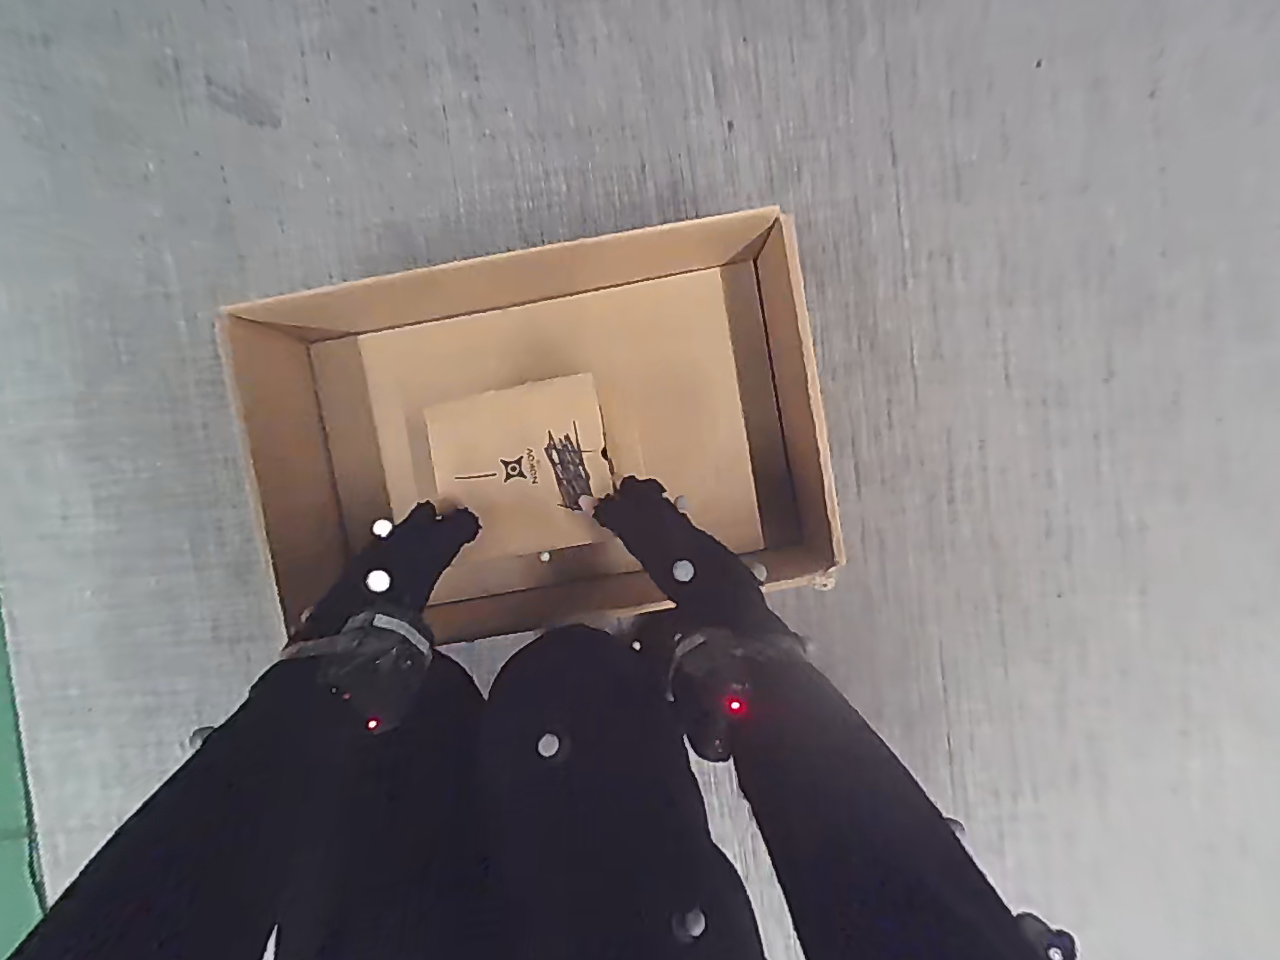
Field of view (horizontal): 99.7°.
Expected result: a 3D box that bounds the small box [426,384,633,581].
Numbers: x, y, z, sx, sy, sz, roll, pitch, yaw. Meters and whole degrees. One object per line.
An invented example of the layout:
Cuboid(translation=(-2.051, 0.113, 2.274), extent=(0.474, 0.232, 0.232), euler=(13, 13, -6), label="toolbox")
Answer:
Cuboid(translation=(-0.109, 0.005, 0.608), extent=(0.179, 0.176, 0.168), euler=(-14, 86, 1), label="small box")
